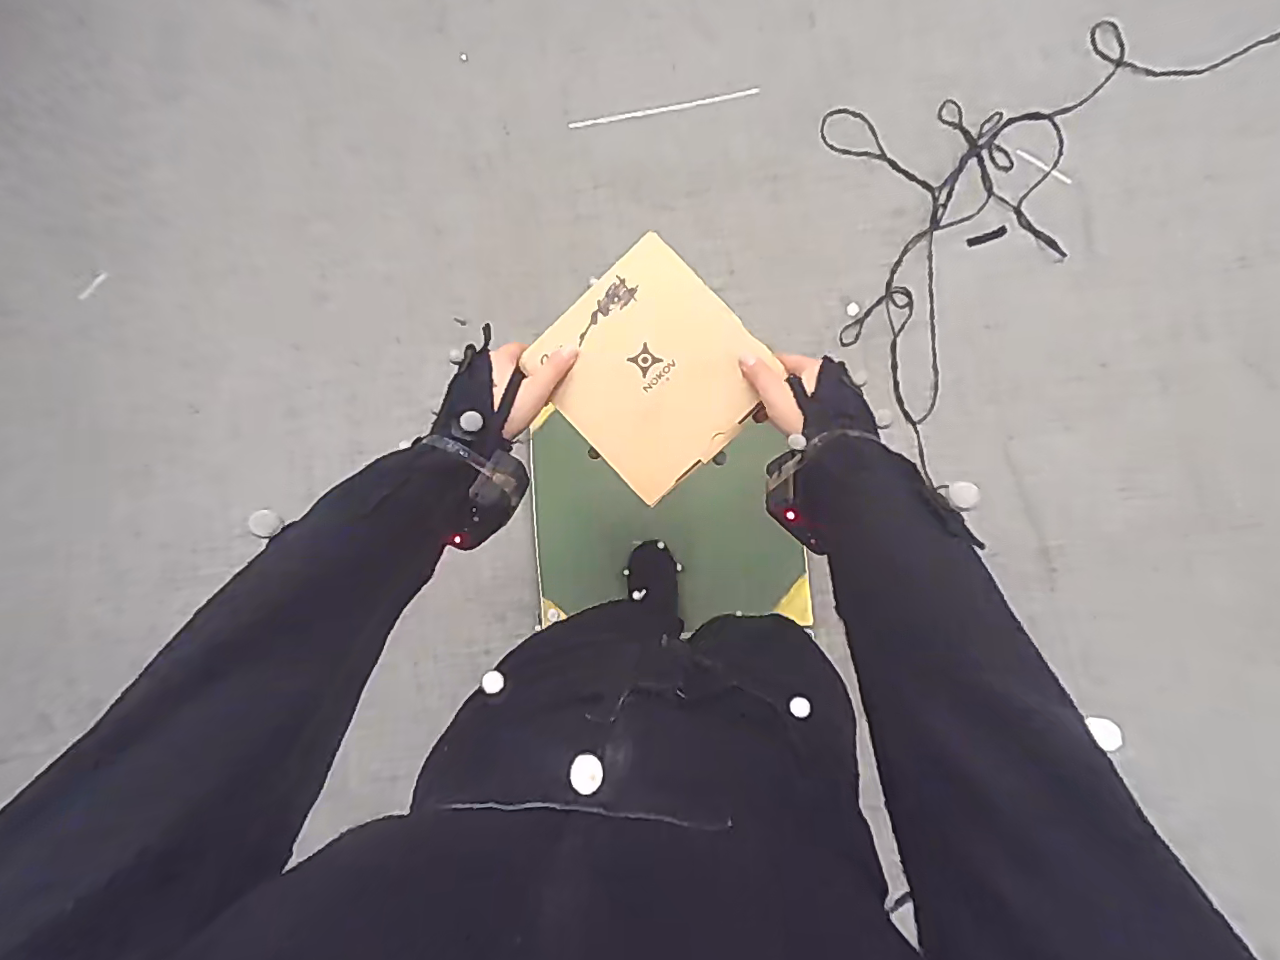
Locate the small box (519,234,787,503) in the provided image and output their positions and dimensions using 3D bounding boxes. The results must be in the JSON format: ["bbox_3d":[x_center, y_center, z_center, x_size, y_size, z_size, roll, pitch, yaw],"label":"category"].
[{"bbox_3d":[0.014,-0.097,0.544,0.168,0.176,0.179,-43,88,2],"label":"small box"}]
